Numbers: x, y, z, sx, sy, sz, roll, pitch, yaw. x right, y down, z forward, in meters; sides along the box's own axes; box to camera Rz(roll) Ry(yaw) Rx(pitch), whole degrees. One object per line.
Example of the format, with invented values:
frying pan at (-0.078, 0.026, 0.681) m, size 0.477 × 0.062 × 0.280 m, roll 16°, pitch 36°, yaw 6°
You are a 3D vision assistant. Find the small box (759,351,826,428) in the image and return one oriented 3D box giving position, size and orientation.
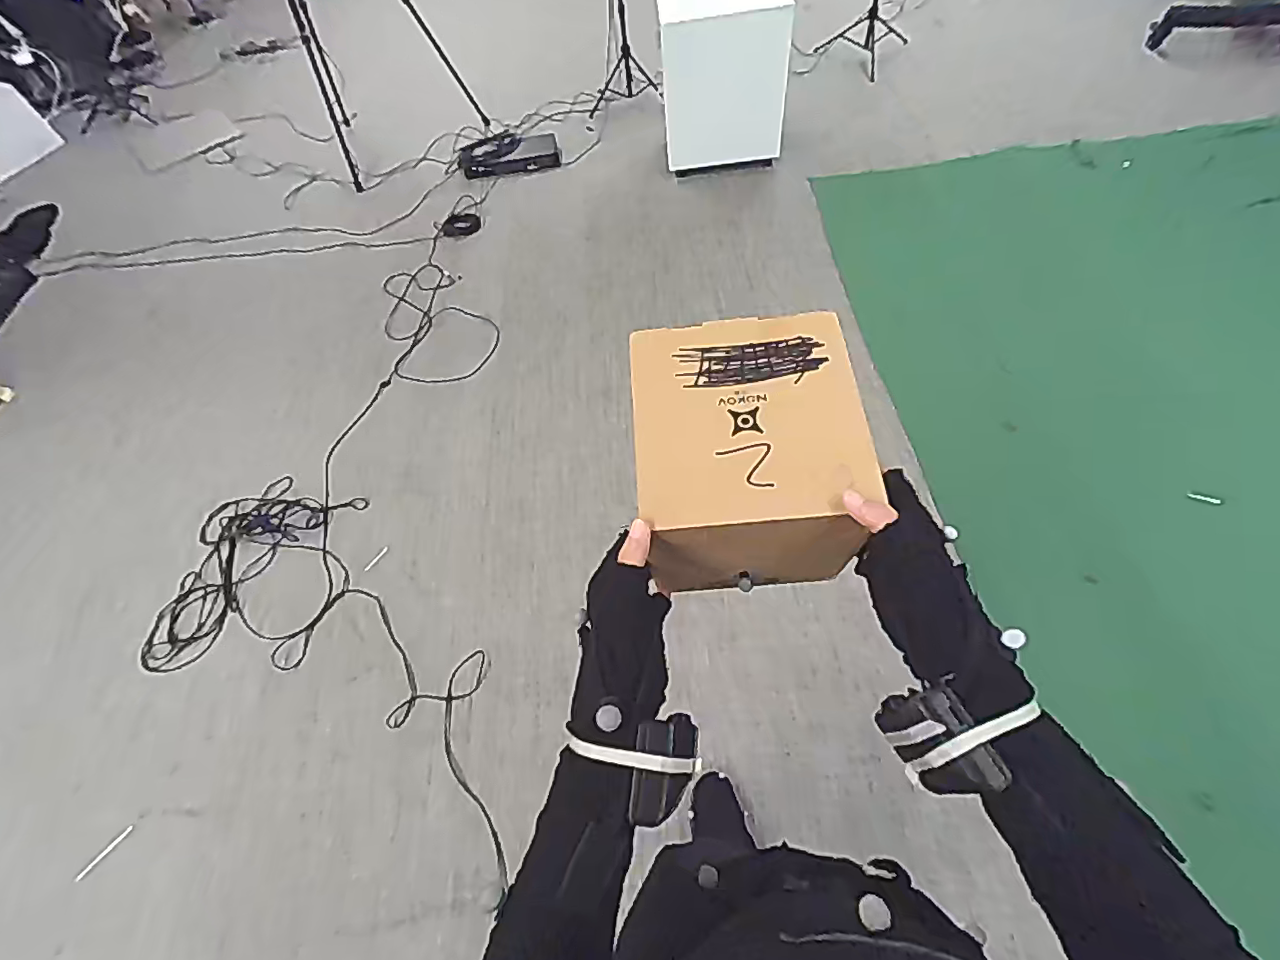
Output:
small box at (0.480, -0.281, 1.721) m, size 0.168 × 0.176 × 0.179 m, roll -6°, pitch 58°, yaw 3°
